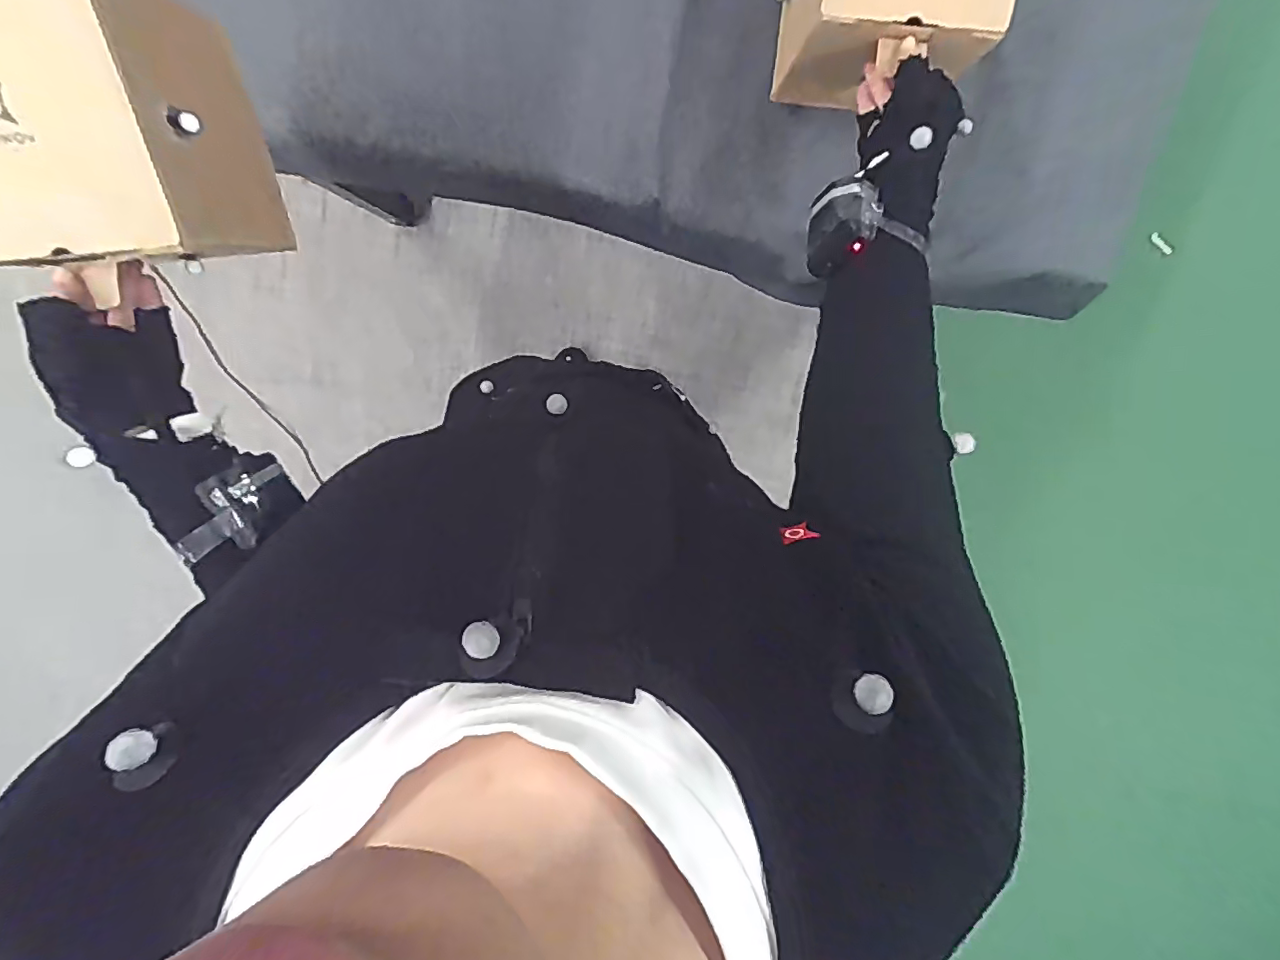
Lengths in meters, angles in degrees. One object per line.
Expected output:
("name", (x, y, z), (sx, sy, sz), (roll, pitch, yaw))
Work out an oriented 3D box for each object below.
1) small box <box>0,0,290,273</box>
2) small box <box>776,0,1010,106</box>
("small box", (-0.408, -0.259, 0.411), (0.168, 0.176, 0.179), (-7, 113, -4))
("small box", (0.239, -0.493, 0.520), (0.168, 0.176, 0.179), (4, 105, -3))
